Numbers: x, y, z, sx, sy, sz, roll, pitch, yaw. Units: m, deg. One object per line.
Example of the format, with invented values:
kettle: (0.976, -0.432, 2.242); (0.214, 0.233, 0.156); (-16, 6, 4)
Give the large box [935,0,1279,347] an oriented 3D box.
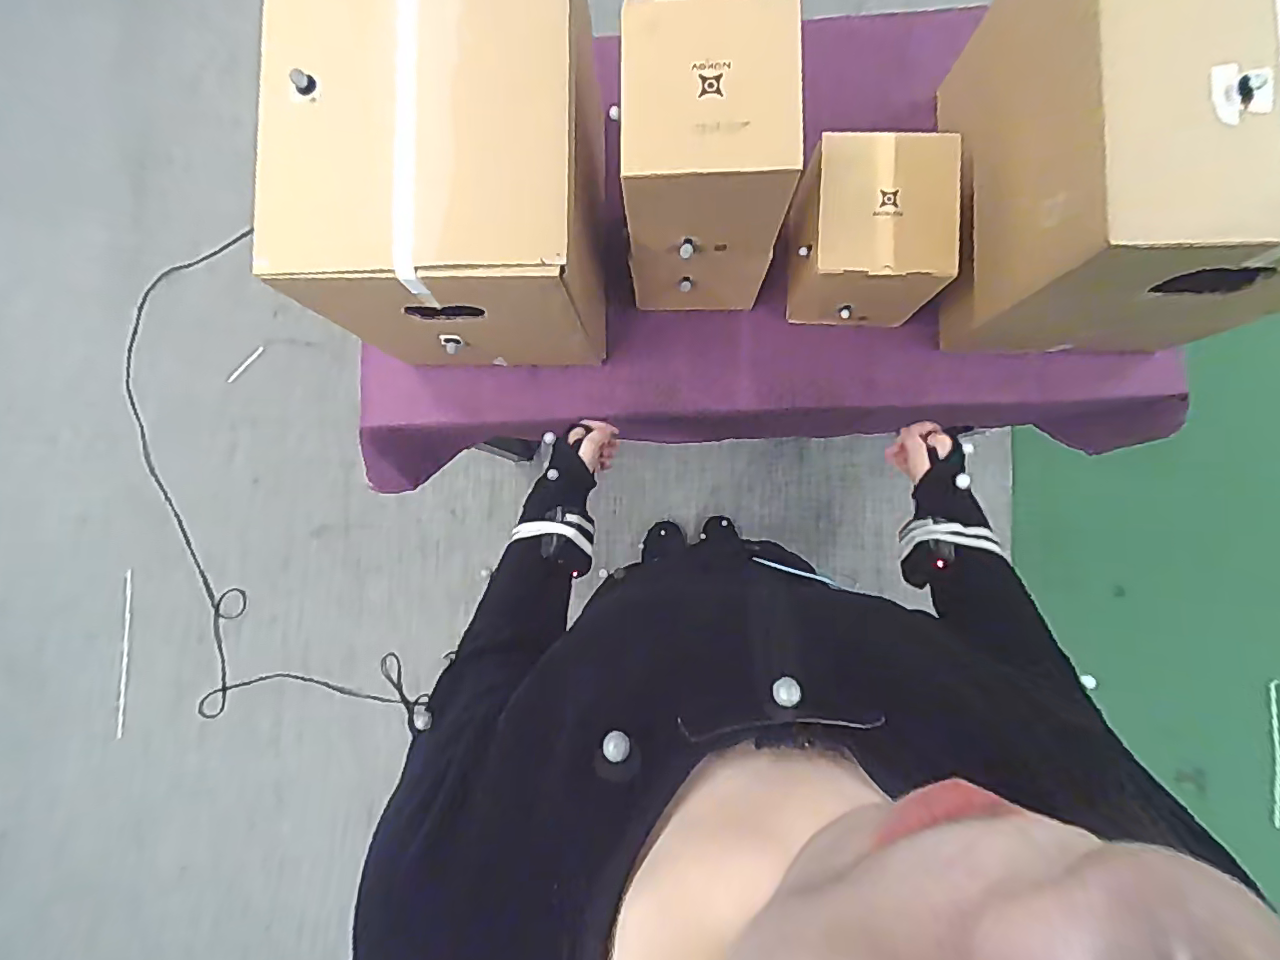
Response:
large box: (0.587, -0.401, 0.650); (0.320, 0.320, 0.408); (1, 87, 3)
